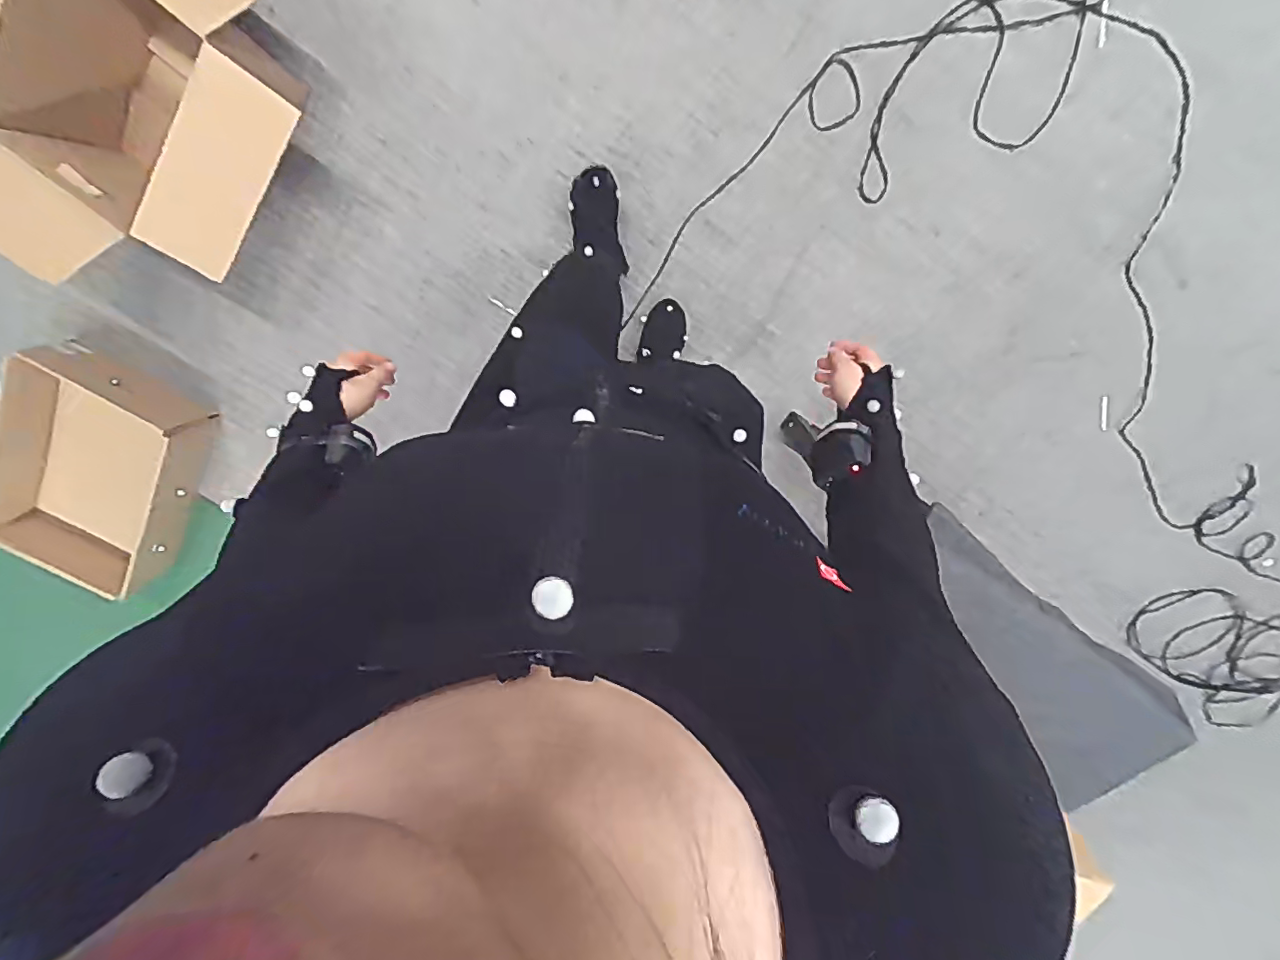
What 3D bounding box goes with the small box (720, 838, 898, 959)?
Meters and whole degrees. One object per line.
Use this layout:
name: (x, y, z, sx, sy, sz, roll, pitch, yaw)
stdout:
small box: (0.226, 0.627, 0.727, 0.179, 0.176, 0.168, 25, 111, -8)
